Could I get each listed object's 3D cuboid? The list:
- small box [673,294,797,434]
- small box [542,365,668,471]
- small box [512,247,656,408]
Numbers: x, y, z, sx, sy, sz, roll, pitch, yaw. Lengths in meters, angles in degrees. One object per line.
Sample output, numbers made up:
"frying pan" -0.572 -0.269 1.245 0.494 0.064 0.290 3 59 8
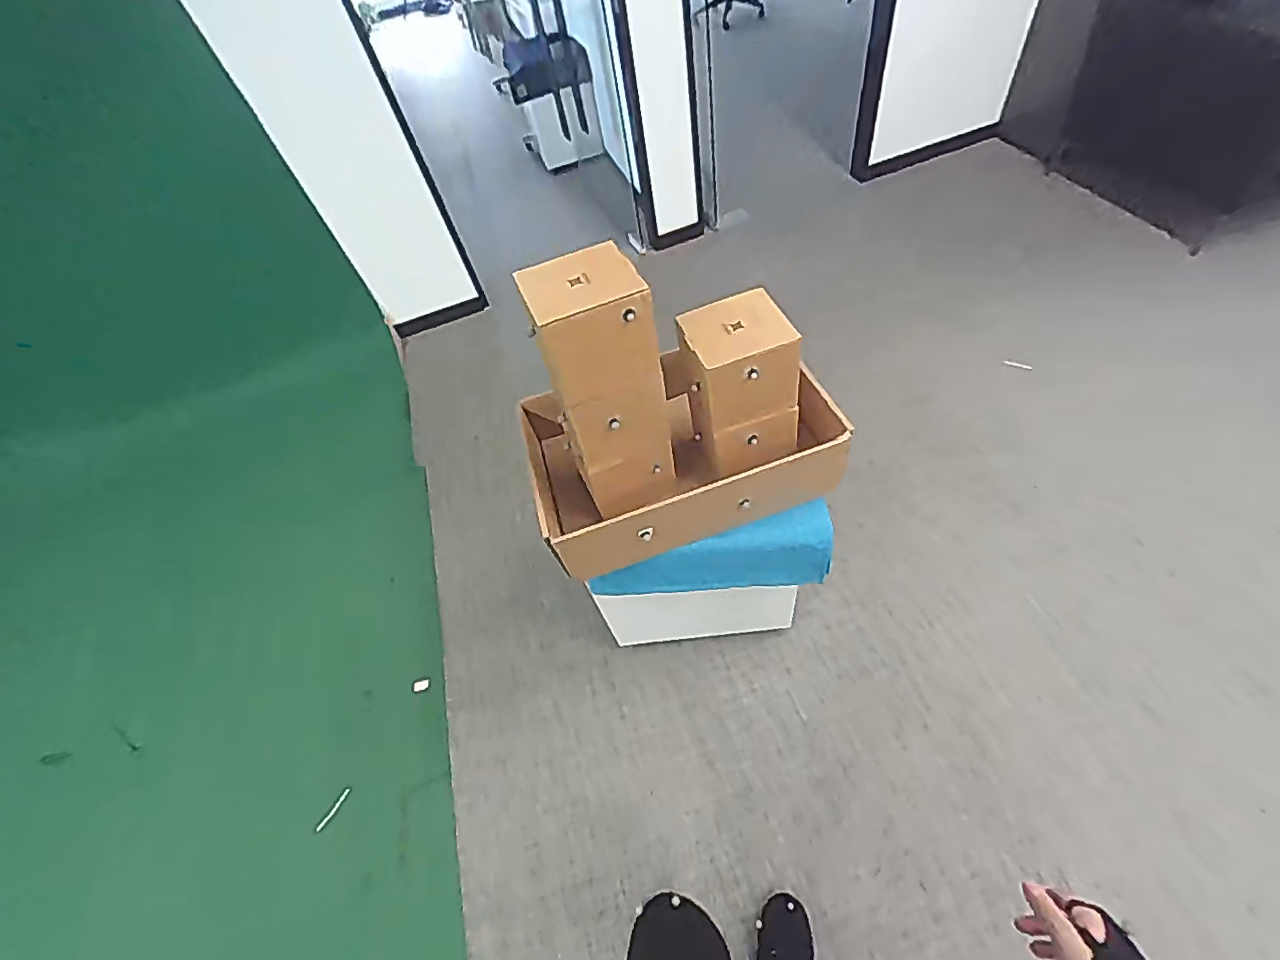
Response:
"small box" 0.178 -0.211 1.013 0.179 0.176 0.168 -19 52 -2
"small box" -0.061 -0.144 1.012 0.179 0.176 0.168 -22 52 -7
"small box" -0.087 -0.245 0.886 0.179 0.176 0.168 -22 52 -9
